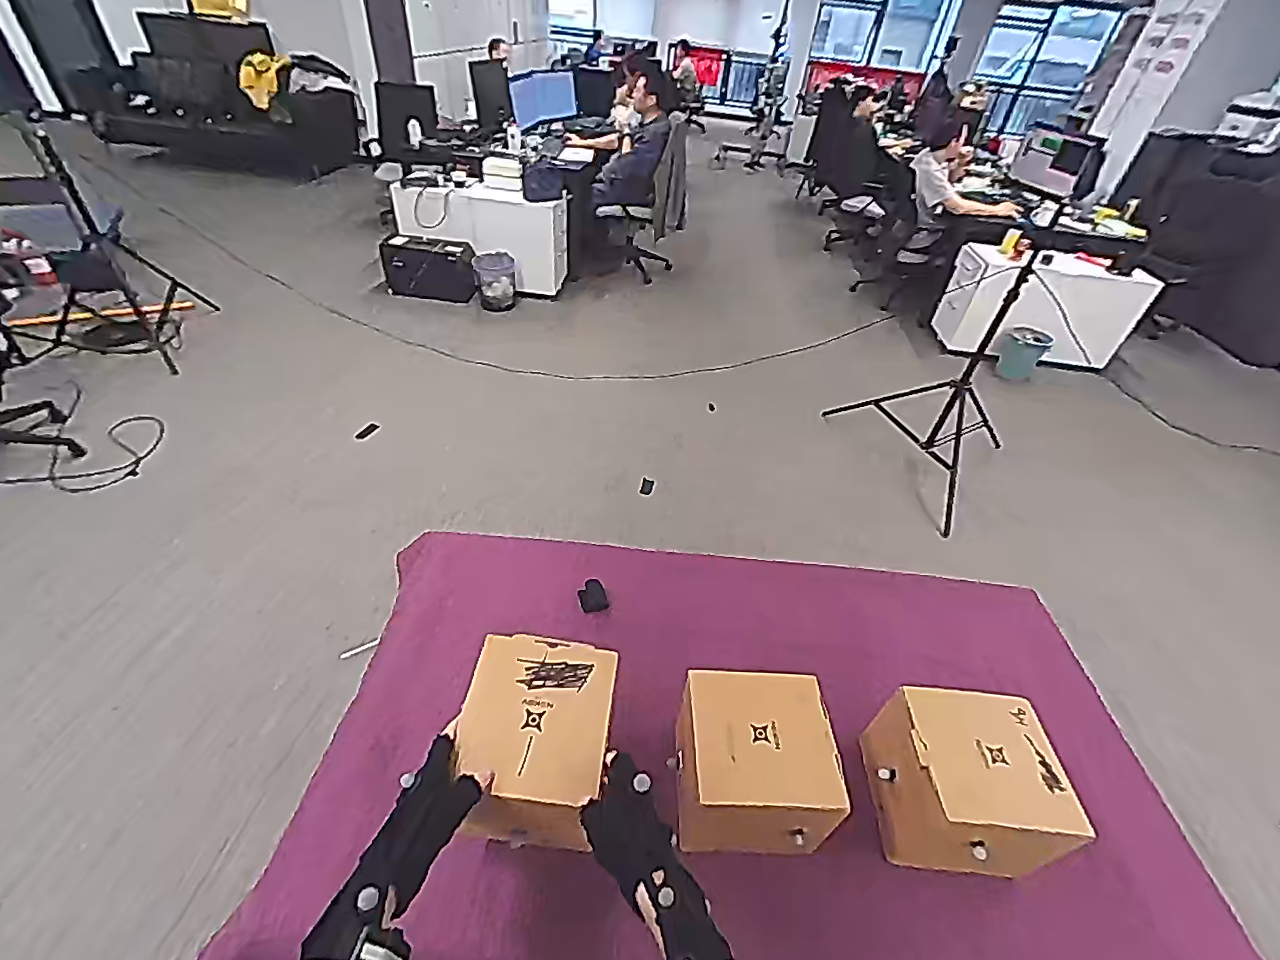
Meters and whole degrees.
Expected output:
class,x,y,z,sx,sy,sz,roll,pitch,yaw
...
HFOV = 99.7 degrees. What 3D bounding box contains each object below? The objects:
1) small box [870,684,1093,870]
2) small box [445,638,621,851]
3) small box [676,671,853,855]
class,x,y,z,sx,sy,sz,roll,pitch,yaw
small box,0.427,0.396,0.721,0.179,0.176,0.168,5,40,0
small box,-0.119,0.324,0.664,0.168,0.176,0.179,7,43,1
small box,0.148,0.374,0.714,0.179,0.176,0.168,2,39,-3
